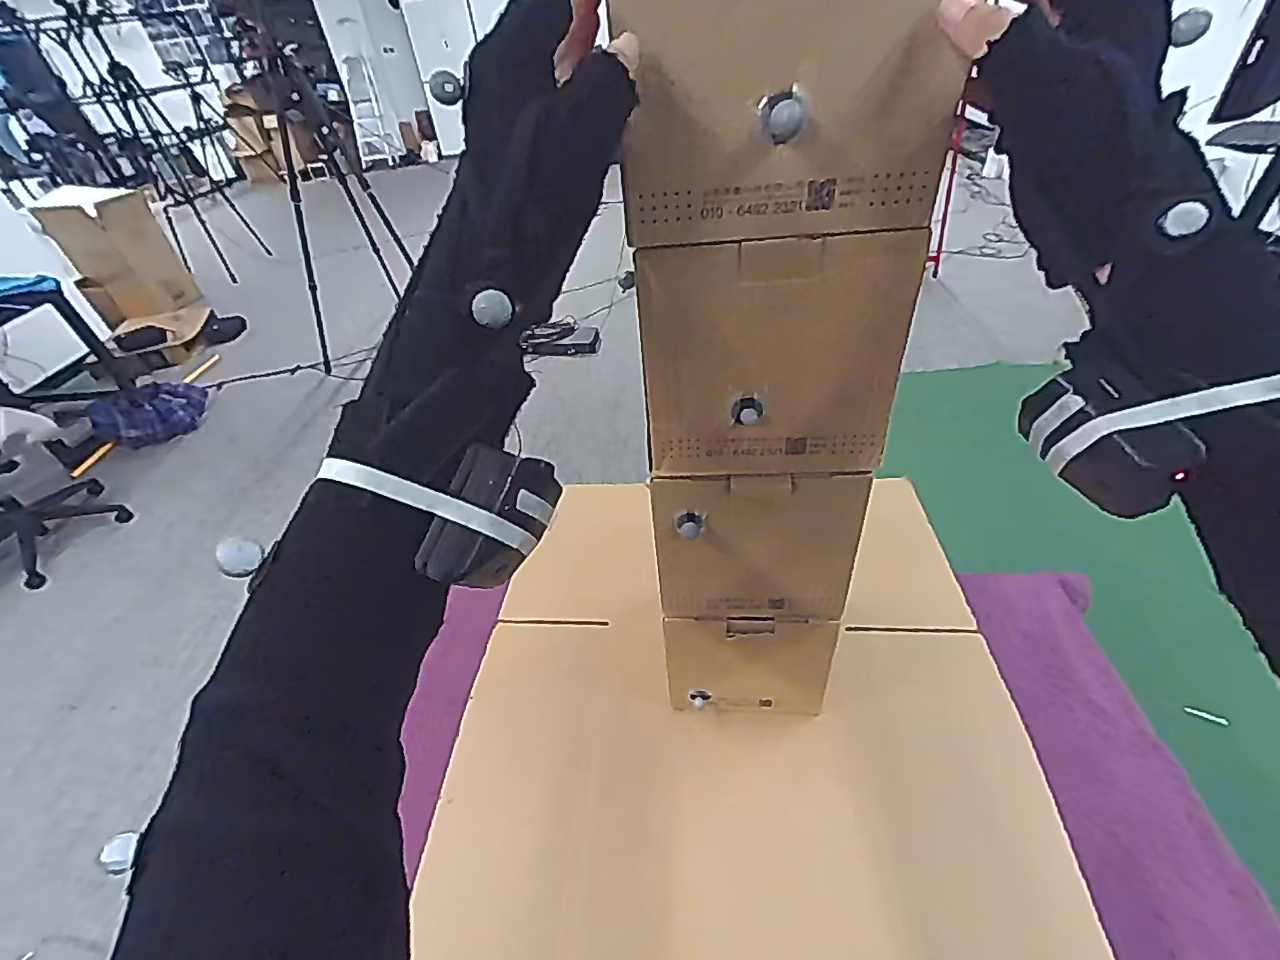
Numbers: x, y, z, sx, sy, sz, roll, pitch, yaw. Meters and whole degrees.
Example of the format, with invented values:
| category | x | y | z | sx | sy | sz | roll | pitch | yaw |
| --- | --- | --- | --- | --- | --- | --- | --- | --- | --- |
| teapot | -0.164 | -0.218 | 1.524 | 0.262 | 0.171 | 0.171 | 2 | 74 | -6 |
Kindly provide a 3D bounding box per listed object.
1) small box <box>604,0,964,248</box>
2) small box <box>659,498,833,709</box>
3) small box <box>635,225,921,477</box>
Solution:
| category | x | y | z | sx | sy | sz | roll | pitch | yaw |
| --- | --- | --- | --- | --- | --- | --- | --- | --- | --- |
| small box | 0.069 | -0.248 | 0.322 | 0.168 | 0.176 | 0.179 | -3 | 38 | 5 |
| small box | 0.115 | 0.141 | 0.620 | 0.168 | 0.176 | 0.179 | -1 | 38 | 7 |
| small box | 0.087 | -0.119 | 0.424 | 0.168 | 0.176 | 0.179 | -2 | 38 | 5 |
